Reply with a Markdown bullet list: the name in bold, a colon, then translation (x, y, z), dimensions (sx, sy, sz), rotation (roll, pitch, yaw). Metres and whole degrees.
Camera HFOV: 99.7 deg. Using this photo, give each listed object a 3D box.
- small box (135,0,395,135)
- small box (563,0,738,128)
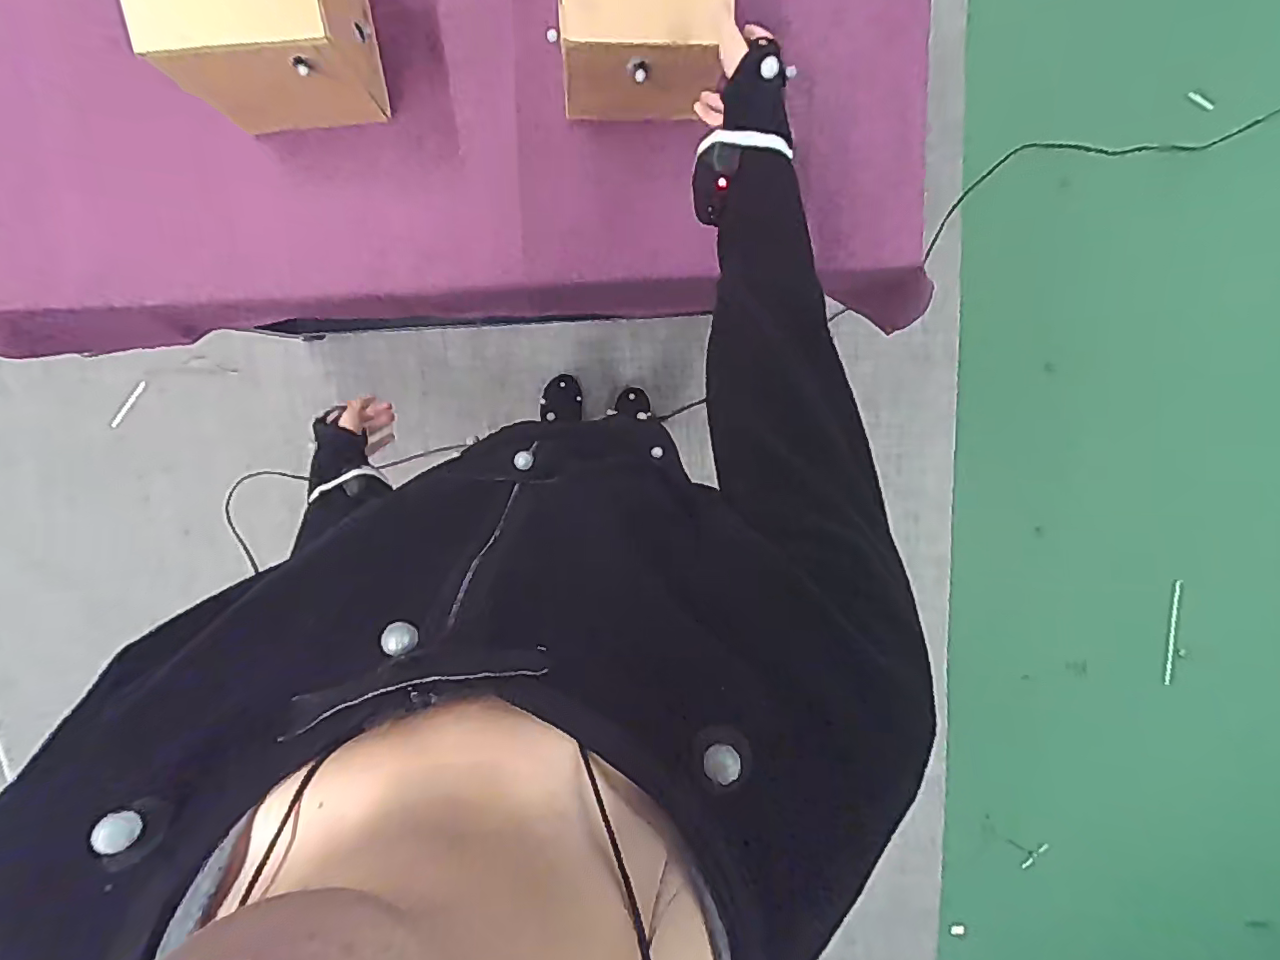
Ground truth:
- **small box**: translation (-0.390, -0.494, 0.575), dimensions (0.179, 0.176, 0.168), rotation (-8, 100, -5)
- **small box**: translation (0.004, -0.521, 0.606), dimensions (0.179, 0.176, 0.168), rotation (-2, 101, -6)
